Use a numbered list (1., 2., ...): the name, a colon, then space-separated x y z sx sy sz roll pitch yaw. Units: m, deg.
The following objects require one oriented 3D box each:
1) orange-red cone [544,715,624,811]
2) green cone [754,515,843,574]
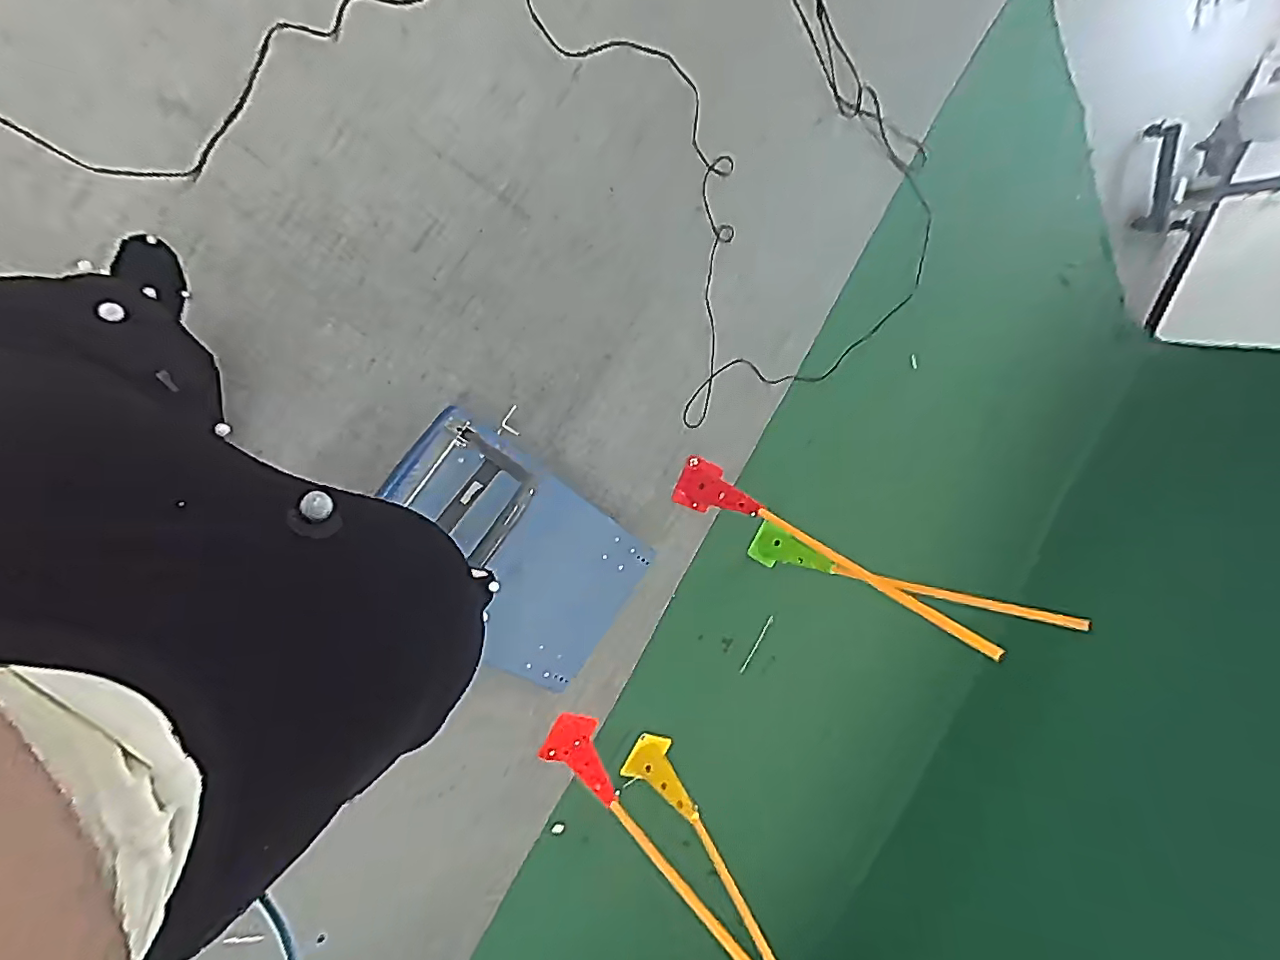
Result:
1. orange-red cone: -0.164 1.058 1.972 0.199 0.360 0.198 32 87 -38
2. green cone: 0.702 0.316 2.311 0.202 0.368 0.200 31 86 -37
